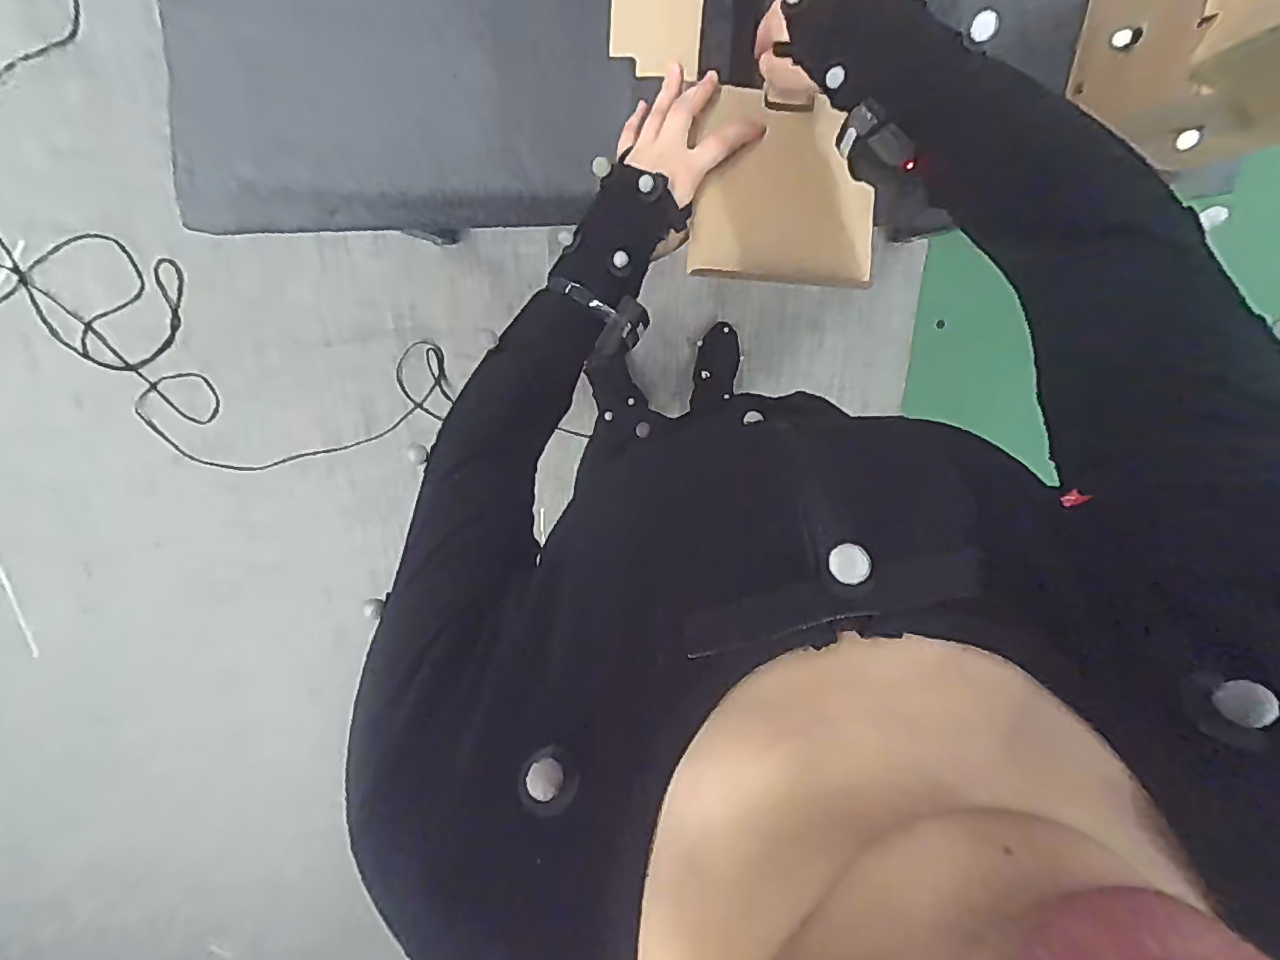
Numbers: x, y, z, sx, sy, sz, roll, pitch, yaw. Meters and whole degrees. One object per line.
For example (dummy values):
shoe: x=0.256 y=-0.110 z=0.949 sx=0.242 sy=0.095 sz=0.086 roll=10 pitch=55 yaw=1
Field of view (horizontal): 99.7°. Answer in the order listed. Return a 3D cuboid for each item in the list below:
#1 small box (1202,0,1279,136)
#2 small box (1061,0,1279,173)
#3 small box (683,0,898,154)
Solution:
small box: x=0.586 y=-0.365 z=0.384 sx=0.179 sy=0.176 sz=0.168 roll=25 pitch=102 yaw=-9
small box: x=0.577 y=-0.424 z=0.537 sx=0.179 sy=0.176 sz=0.168 roll=5 pitch=105 yaw=-3
small box: x=0.133 y=-0.435 z=0.521 sx=0.168 sy=0.176 sz=0.179 roll=2 pitch=106 yaw=-2
